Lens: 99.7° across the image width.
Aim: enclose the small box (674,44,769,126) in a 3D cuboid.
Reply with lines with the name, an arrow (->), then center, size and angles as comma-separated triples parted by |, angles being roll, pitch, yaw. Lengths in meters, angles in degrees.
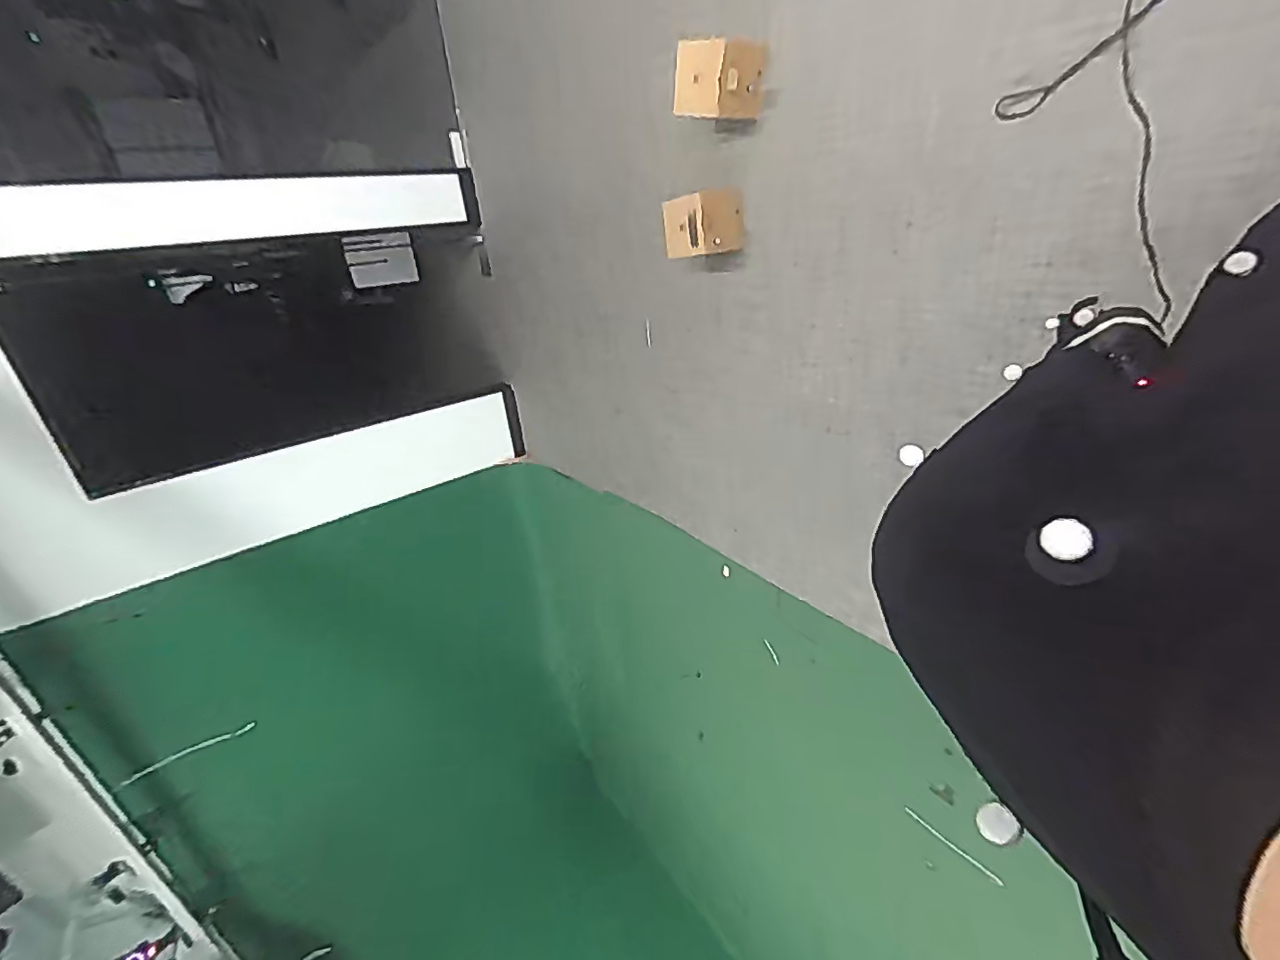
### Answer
small box -> 0.217, -1.065, 1.464 | 0.179, 0.176, 0.168 | 36, 136, 39
